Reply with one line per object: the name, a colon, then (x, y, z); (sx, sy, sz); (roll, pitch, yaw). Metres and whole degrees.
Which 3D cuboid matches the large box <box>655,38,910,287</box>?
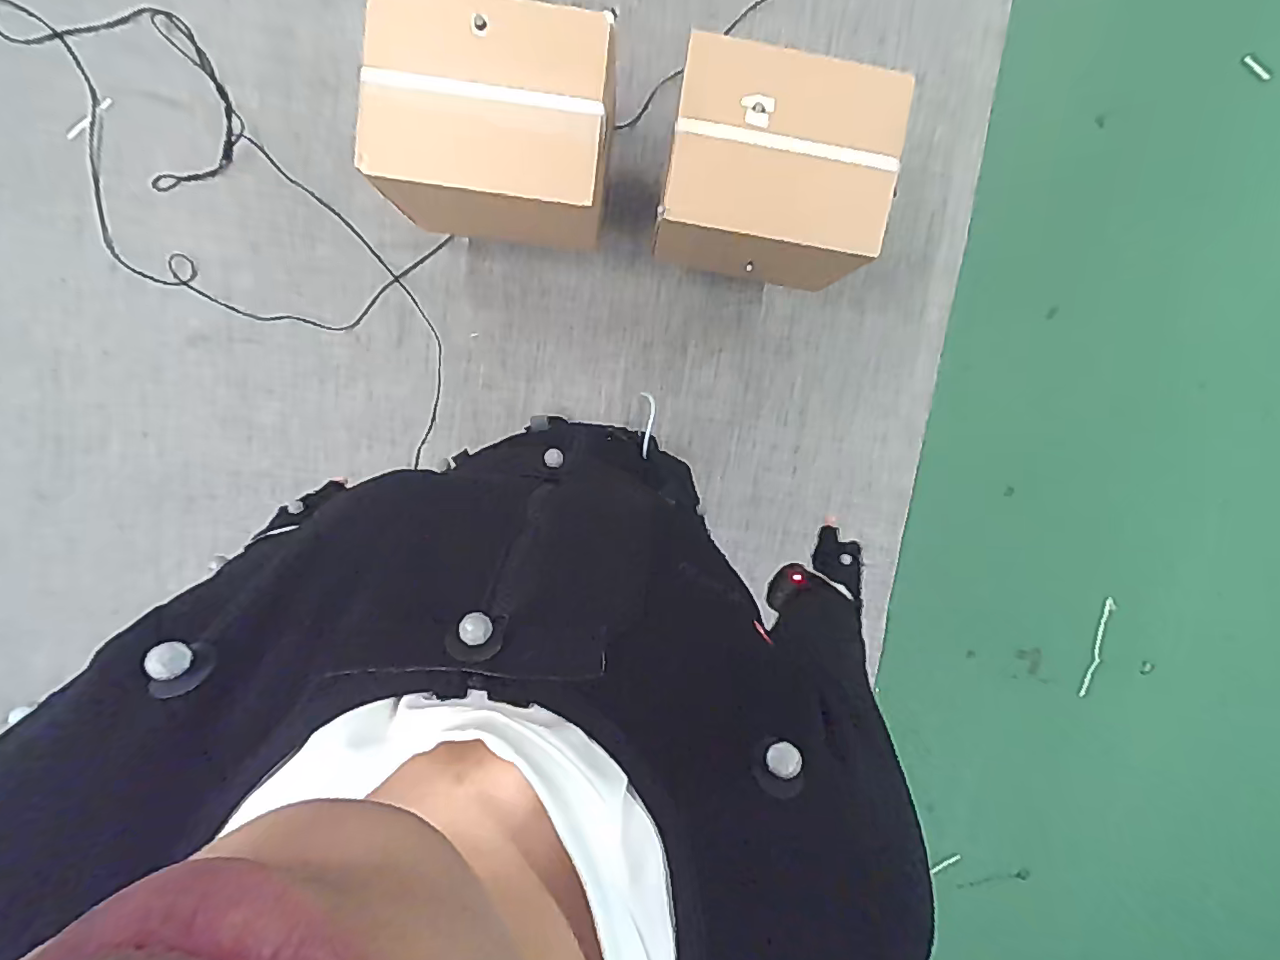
large box: (0.258, -0.611, 1.114); (0.408, 0.320, 0.320); (9, 97, -3)
